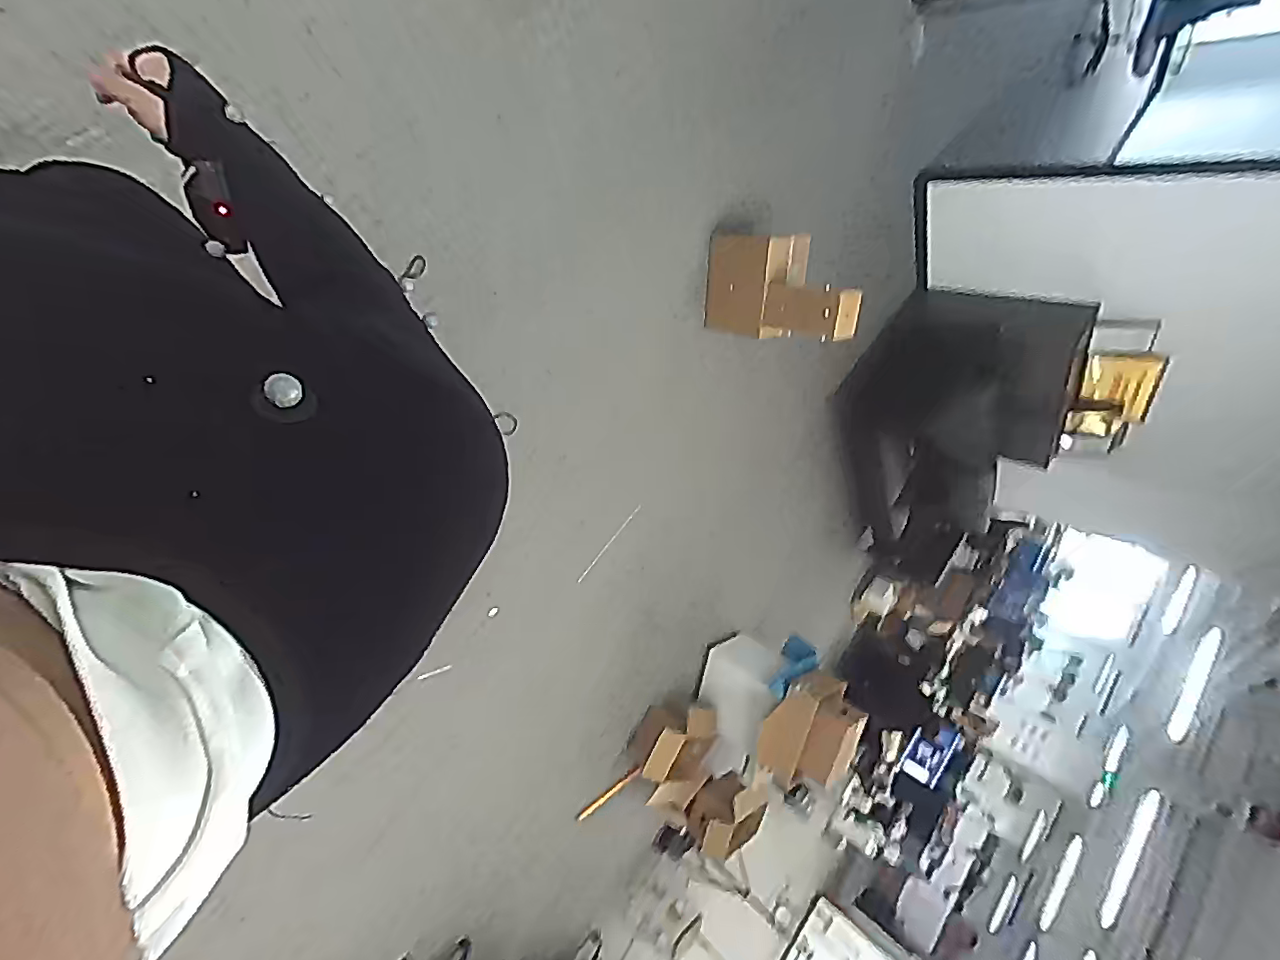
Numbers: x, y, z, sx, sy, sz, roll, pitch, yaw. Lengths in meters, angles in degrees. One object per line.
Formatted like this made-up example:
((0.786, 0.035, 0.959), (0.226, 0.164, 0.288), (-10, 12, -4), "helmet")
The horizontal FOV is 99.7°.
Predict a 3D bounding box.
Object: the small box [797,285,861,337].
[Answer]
((0.743, -0.675, 2.146), (0.168, 0.176, 0.179), (-19, 122, -39), "small box")

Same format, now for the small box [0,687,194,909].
((-0.741, 0.412, 0.709), (0.179, 0.176, 0.168), (-50, 139, -14), "small box")

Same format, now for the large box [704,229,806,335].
((0.505, -0.891, 2.412), (0.320, 0.320, 0.408), (-24, 125, -39), "large box")
